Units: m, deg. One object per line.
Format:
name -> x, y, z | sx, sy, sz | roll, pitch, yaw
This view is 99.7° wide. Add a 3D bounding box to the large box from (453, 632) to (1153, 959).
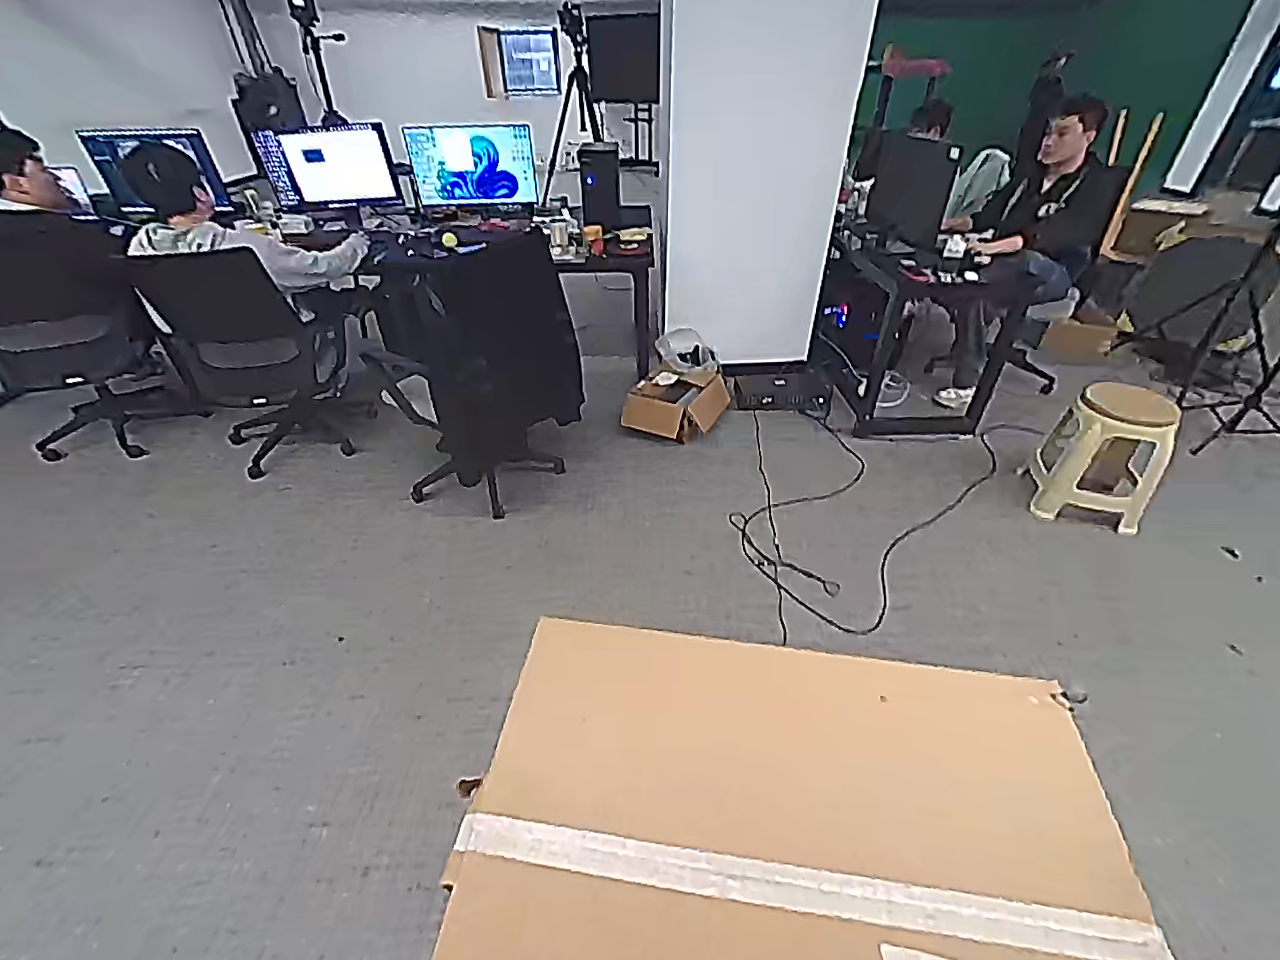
large box -> 0.095, 0.356, 0.436 | 0.408, 0.320, 0.320 | 6, 46, 6
